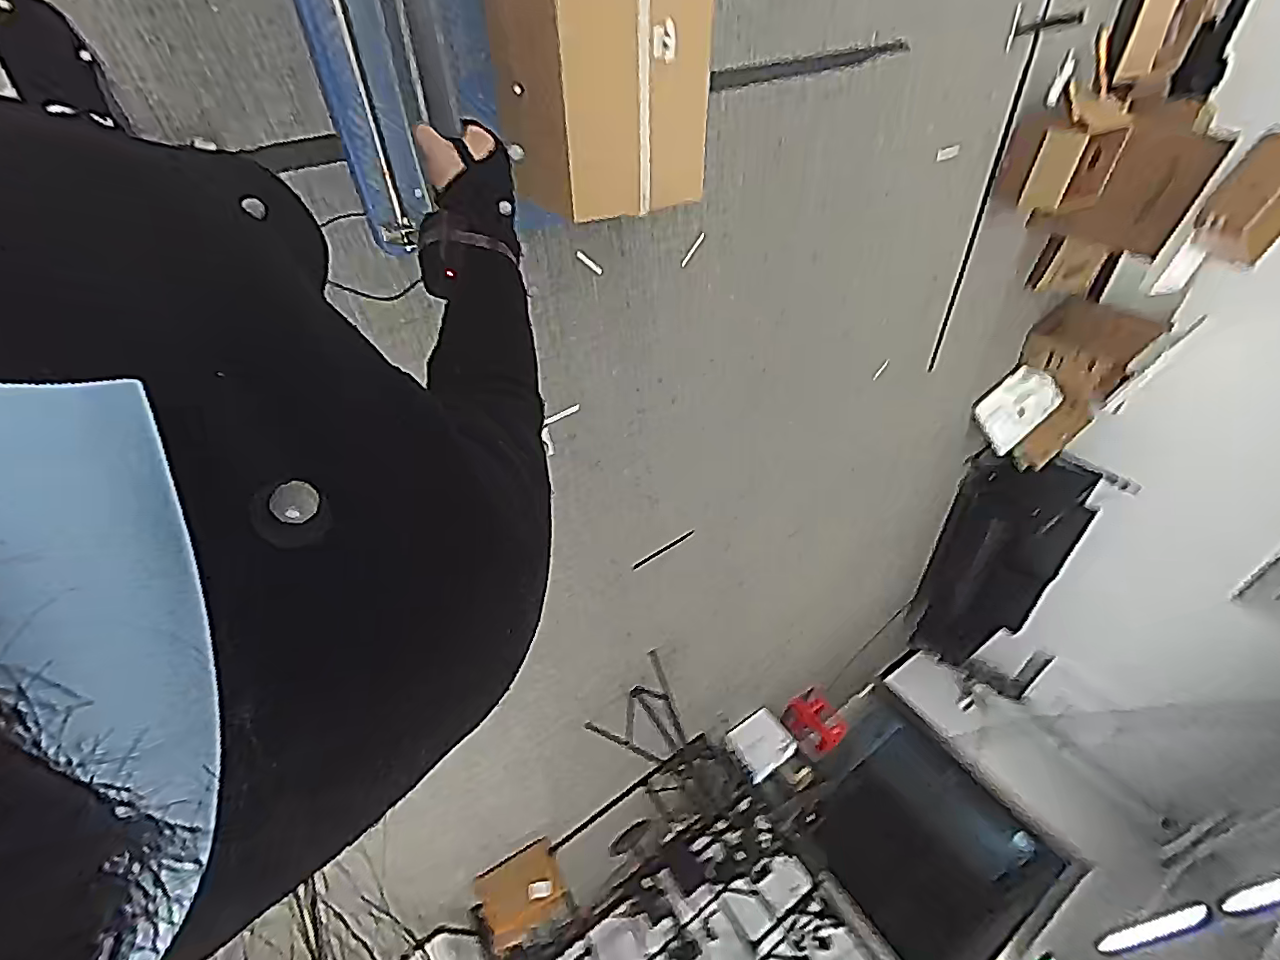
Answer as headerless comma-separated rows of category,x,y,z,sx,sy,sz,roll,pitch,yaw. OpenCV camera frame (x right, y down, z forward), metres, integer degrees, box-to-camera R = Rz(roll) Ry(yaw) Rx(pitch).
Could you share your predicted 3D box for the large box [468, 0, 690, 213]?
large box,-0.117,-0.793,1.067,0.320,0.320,0.408,-25,134,-26
